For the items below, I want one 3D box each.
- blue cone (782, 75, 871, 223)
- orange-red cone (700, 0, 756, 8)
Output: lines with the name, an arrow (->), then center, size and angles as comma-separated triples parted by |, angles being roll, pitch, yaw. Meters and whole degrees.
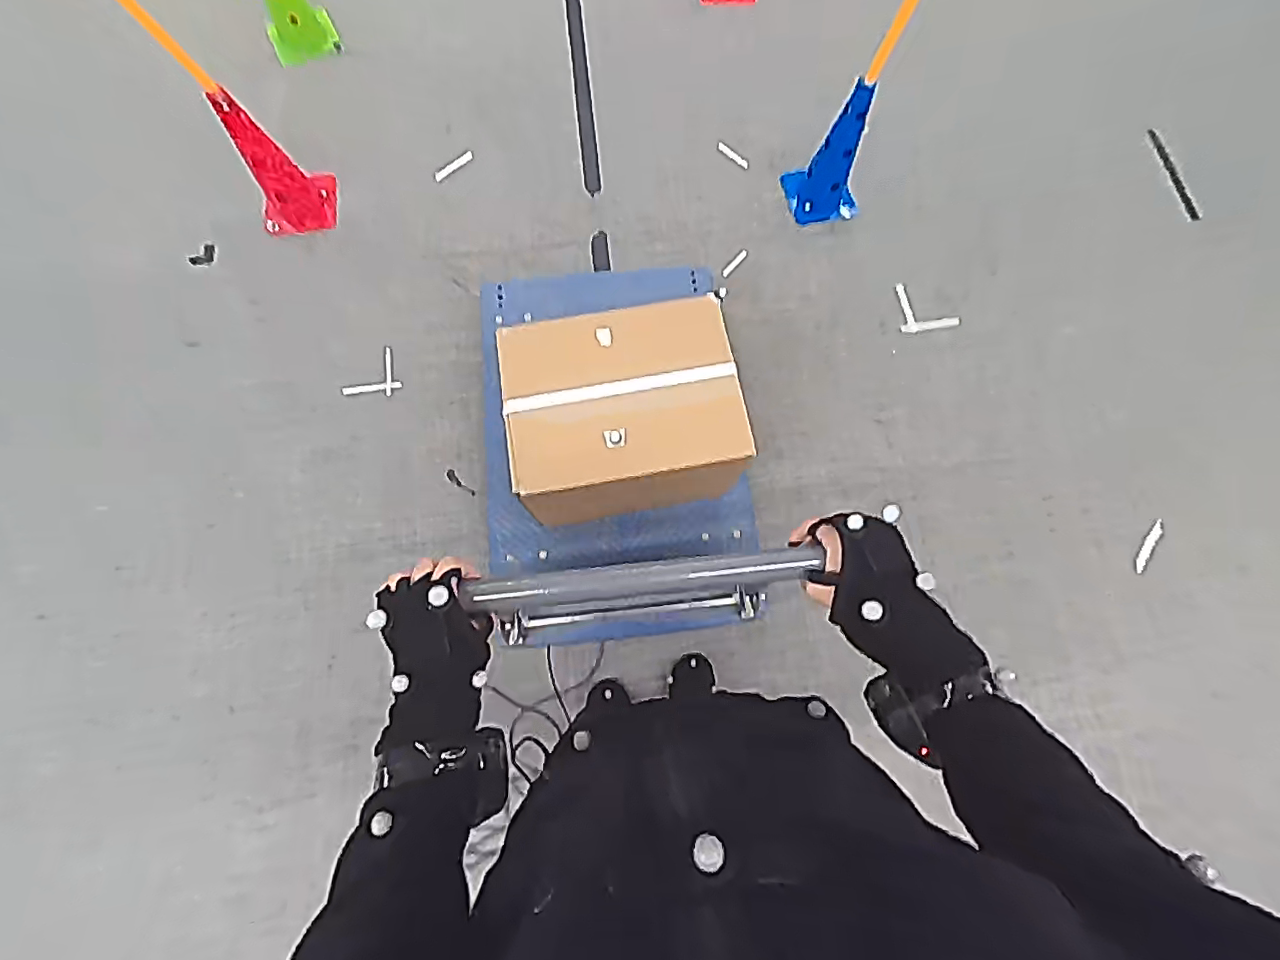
blue cone -> 0.551, -0.919, 1.503 | 0.193, 0.380, 0.192 | -10, 74, -5
orange-red cone -> 0.312, -1.770, 1.723 | 0.199, 0.360, 0.198 | 0, 75, -3
